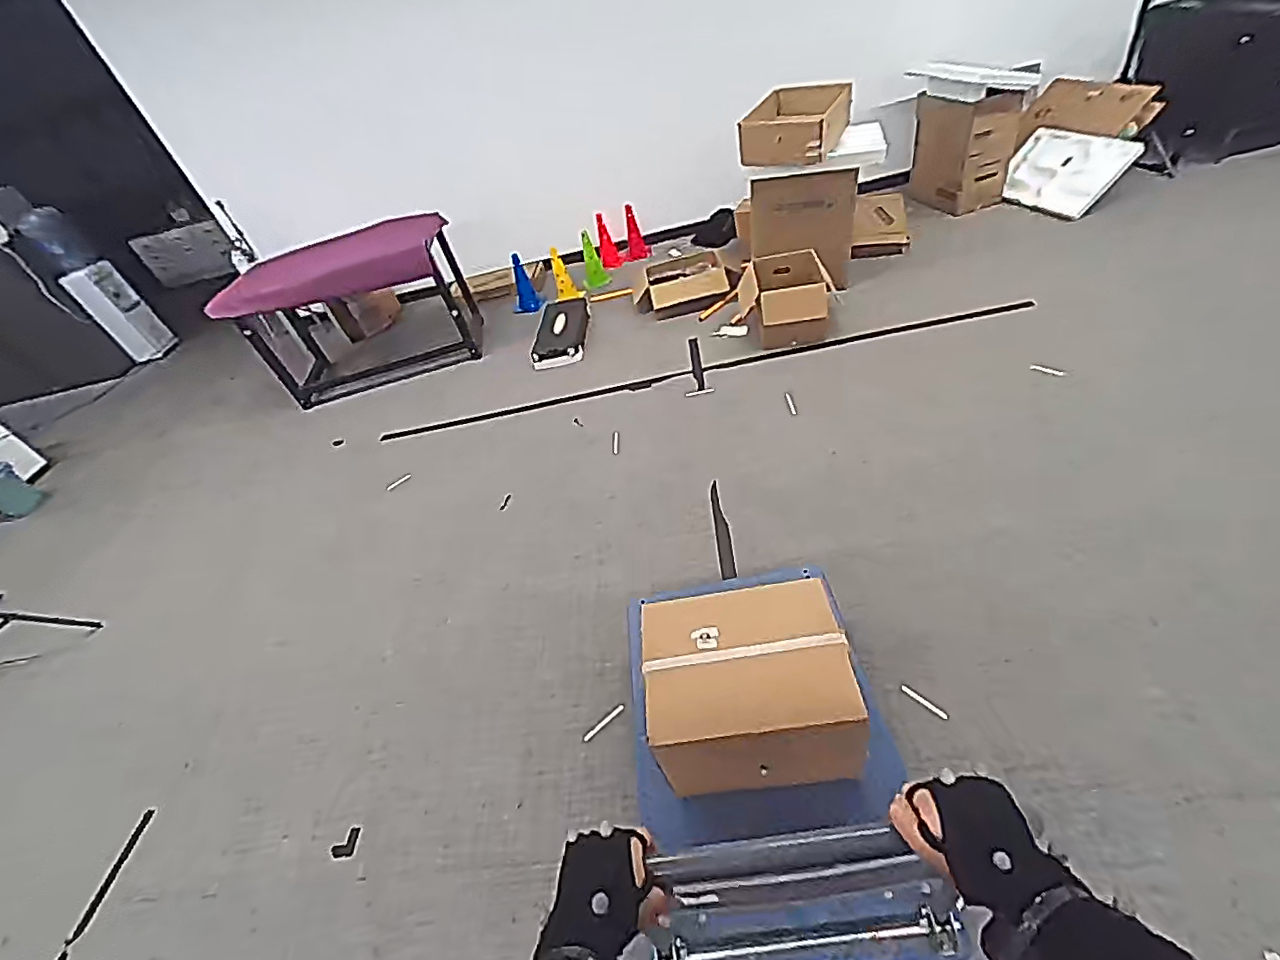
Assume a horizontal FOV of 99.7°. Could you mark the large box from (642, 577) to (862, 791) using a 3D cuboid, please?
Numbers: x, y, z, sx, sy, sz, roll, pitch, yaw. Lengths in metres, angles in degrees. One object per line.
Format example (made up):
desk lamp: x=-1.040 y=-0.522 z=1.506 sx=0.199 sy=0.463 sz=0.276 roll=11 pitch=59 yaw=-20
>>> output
large box: x=0.239 y=0.463 z=1.211 sx=0.408 sy=0.320 sz=0.320 roll=-11 pitch=41 yaw=7
